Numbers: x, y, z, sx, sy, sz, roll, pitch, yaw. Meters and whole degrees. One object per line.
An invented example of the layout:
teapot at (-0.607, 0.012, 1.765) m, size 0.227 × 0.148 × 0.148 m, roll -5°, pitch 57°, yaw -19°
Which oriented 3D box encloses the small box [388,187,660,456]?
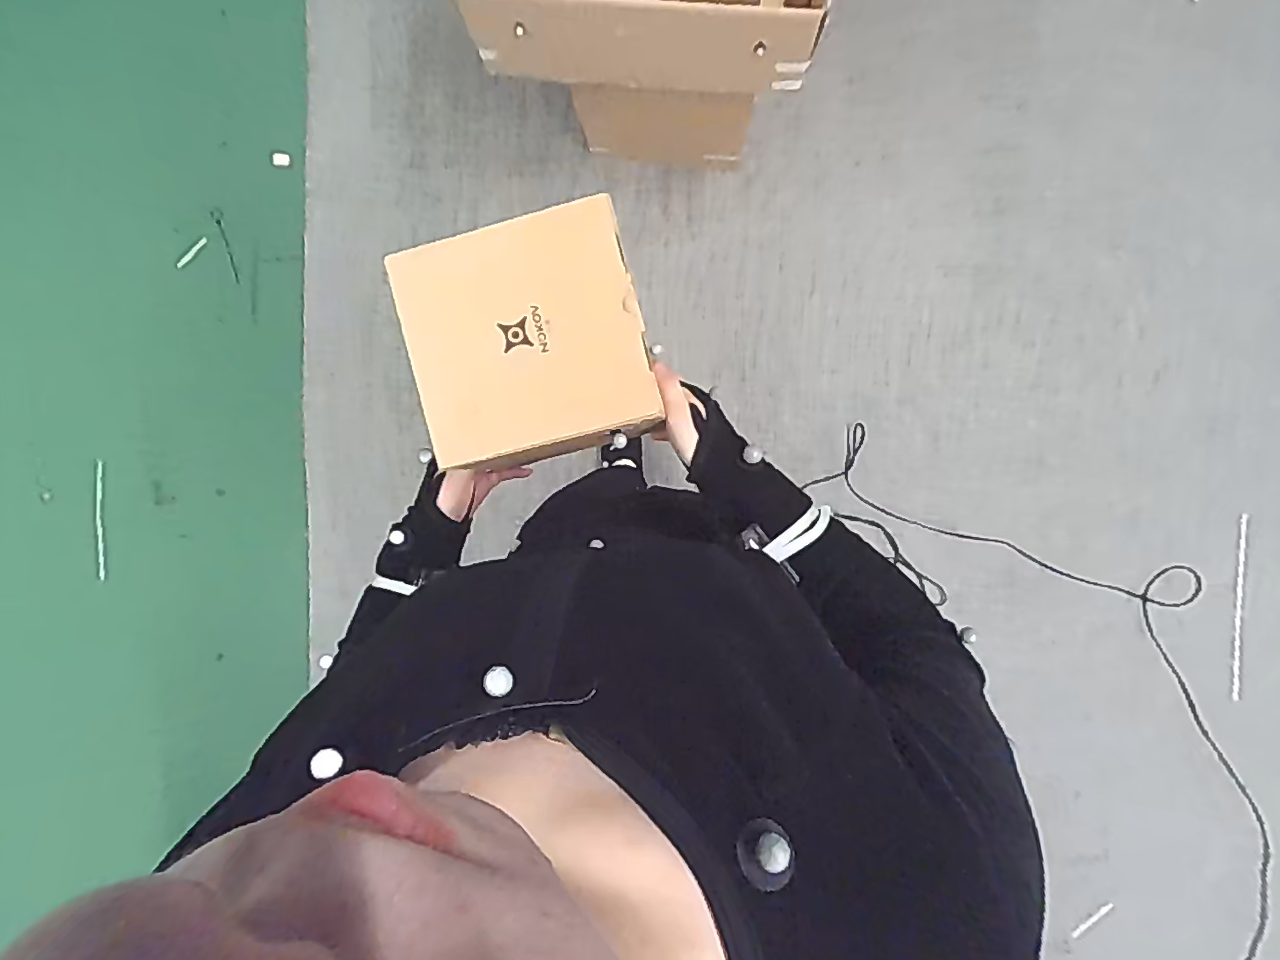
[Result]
small box at (-0.083, -0.118, 0.478) m, size 0.179 × 0.176 × 0.168 m, roll -13°, pitch 91°, yaw 3°
